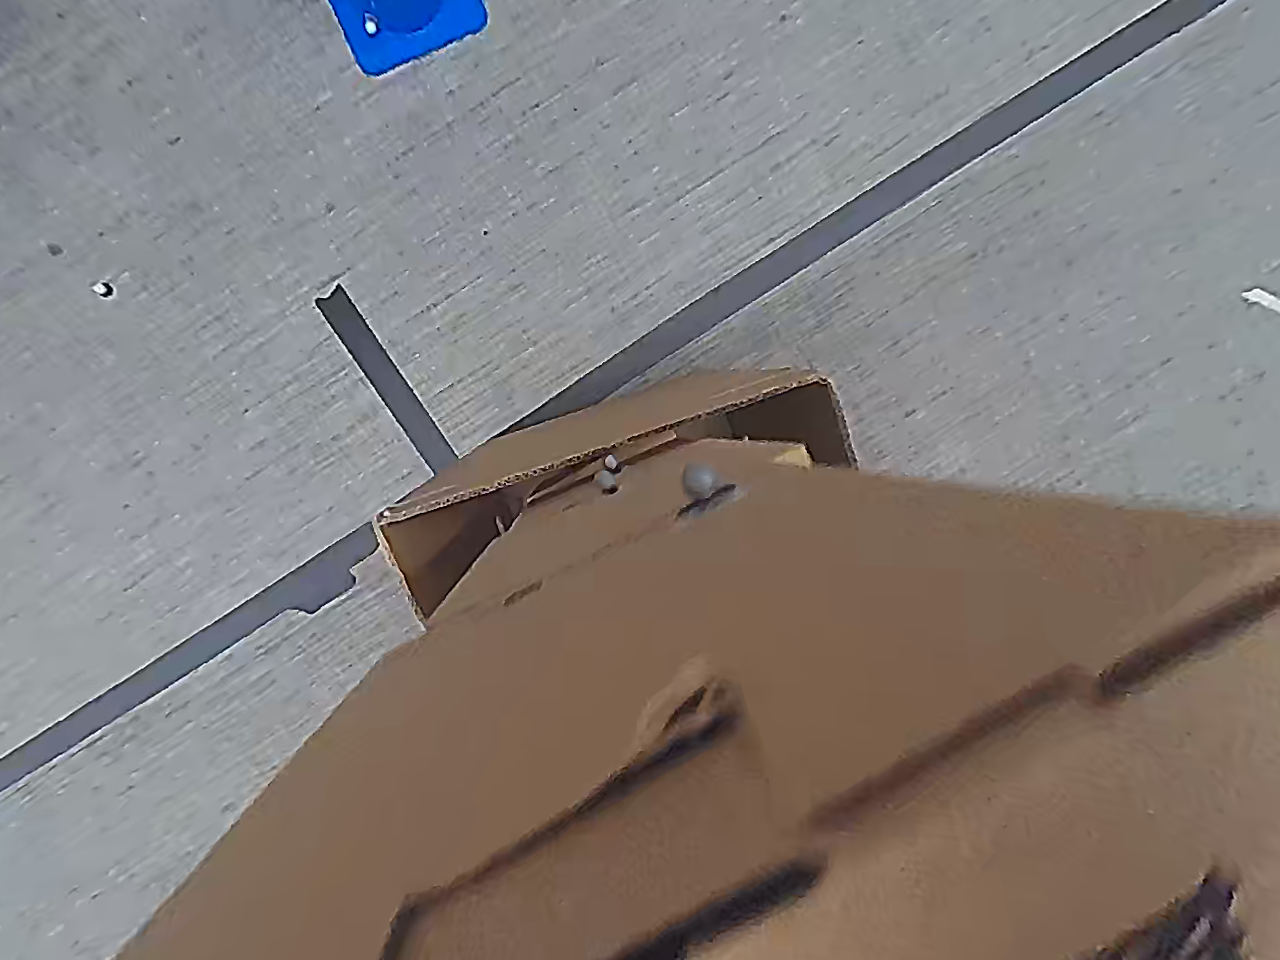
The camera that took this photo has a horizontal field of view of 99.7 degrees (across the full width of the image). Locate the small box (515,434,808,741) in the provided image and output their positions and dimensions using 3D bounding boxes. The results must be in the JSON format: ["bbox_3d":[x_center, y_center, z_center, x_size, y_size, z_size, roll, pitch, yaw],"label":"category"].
[{"bbox_3d":[0.009,0.071,0.460,0.168,0.176,0.179,-23,98,-4],"label":"small box"}]
